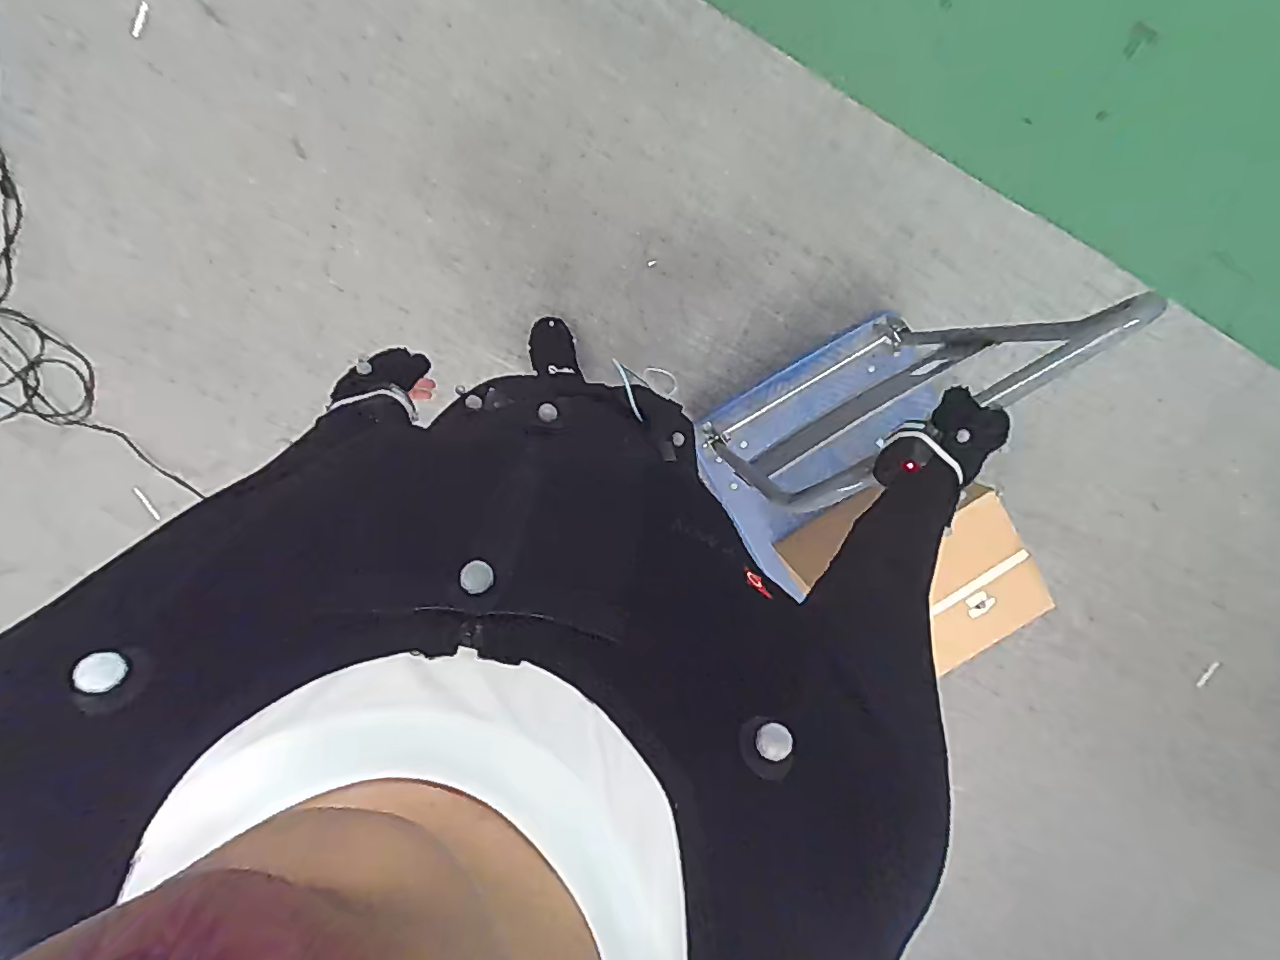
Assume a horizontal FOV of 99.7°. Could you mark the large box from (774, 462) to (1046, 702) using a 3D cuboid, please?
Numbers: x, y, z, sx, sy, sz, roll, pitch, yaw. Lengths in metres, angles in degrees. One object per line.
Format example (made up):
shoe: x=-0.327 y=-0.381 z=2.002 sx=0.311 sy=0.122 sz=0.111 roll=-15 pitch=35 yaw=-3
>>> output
large box: x=0.594 y=0.214 z=1.254 sx=0.408 sy=0.320 sz=0.320 roll=-34 pitch=104 yaw=3
